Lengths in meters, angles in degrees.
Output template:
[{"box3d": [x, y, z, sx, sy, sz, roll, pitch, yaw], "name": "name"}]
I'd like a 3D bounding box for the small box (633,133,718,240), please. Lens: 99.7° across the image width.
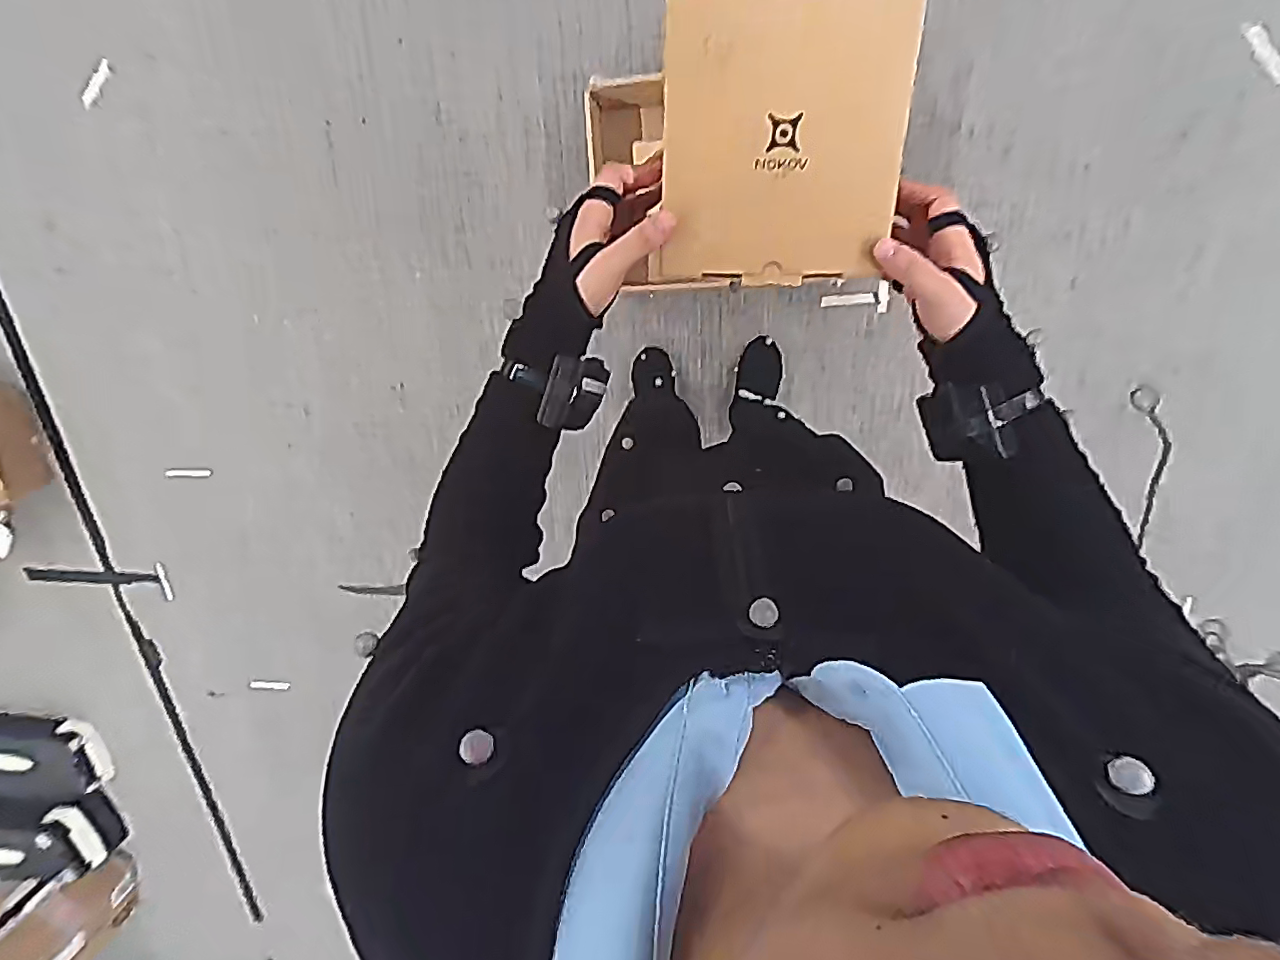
[{"box3d": [0.081, -0.615, 1.156, 0.168, 0.176, 0.179, -3, 110, 6], "name": "small box"}]
